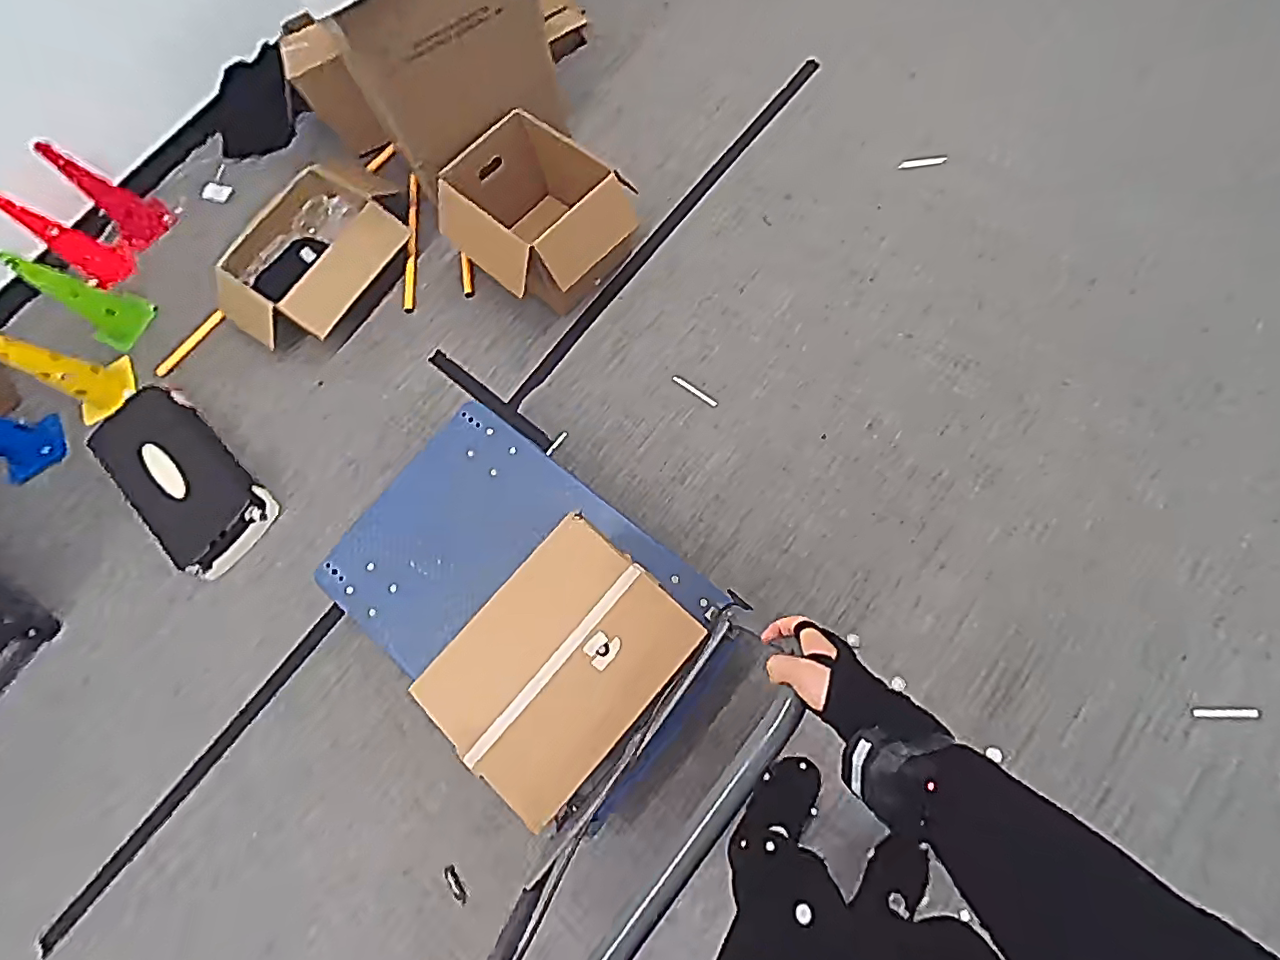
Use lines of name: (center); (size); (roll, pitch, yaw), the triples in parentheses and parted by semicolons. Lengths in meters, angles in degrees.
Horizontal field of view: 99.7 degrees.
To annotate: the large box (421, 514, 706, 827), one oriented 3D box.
large box: (-0.117, 0.339, 1.037); (0.320, 0.320, 0.408); (40, 81, 14)
